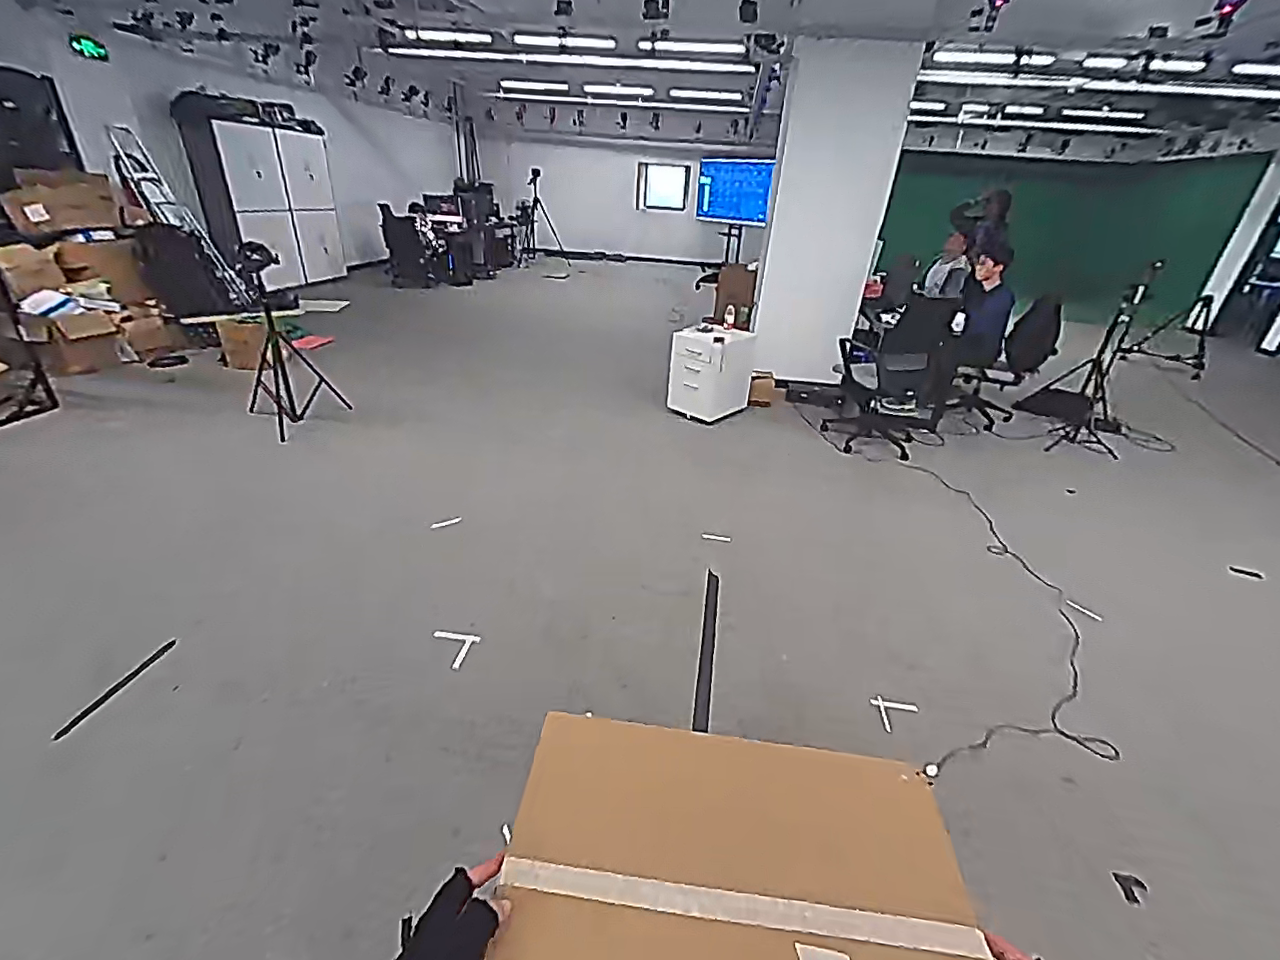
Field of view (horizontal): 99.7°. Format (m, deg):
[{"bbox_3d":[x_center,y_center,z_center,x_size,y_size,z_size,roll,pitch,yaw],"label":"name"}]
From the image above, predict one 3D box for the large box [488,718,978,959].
[{"bbox_3d":[0.070,0.491,0.543,0.408,0.320,0.320,7,33,3],"label":"large box"}]
